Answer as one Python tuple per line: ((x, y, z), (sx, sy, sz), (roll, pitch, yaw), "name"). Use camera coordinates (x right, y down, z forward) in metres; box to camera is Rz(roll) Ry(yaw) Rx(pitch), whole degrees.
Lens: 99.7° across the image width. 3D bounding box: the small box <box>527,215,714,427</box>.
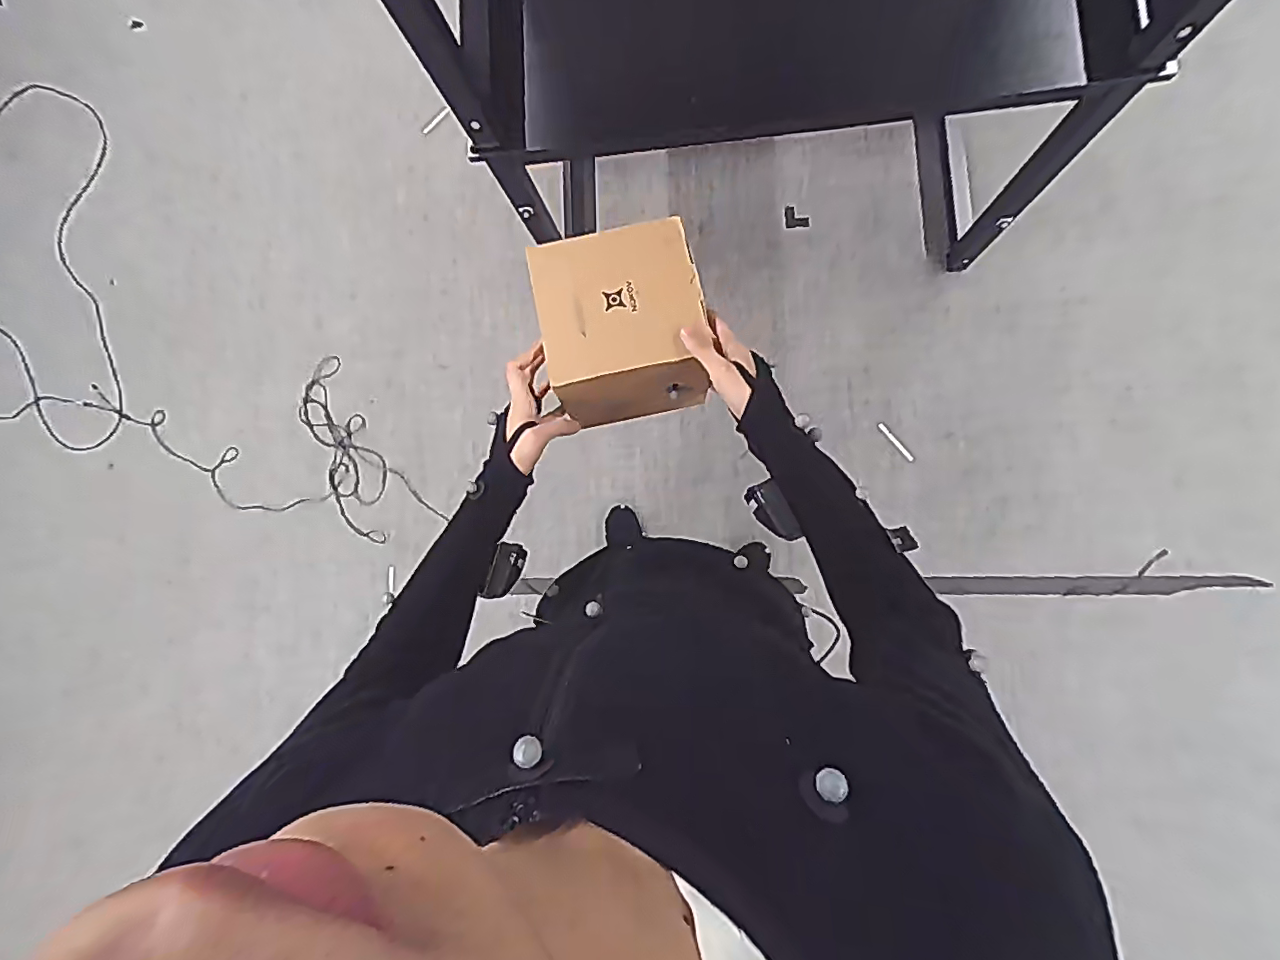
((-0.020, -0.176, 0.643), (0.179, 0.176, 0.168), (-12, 78, 1), "small box")
